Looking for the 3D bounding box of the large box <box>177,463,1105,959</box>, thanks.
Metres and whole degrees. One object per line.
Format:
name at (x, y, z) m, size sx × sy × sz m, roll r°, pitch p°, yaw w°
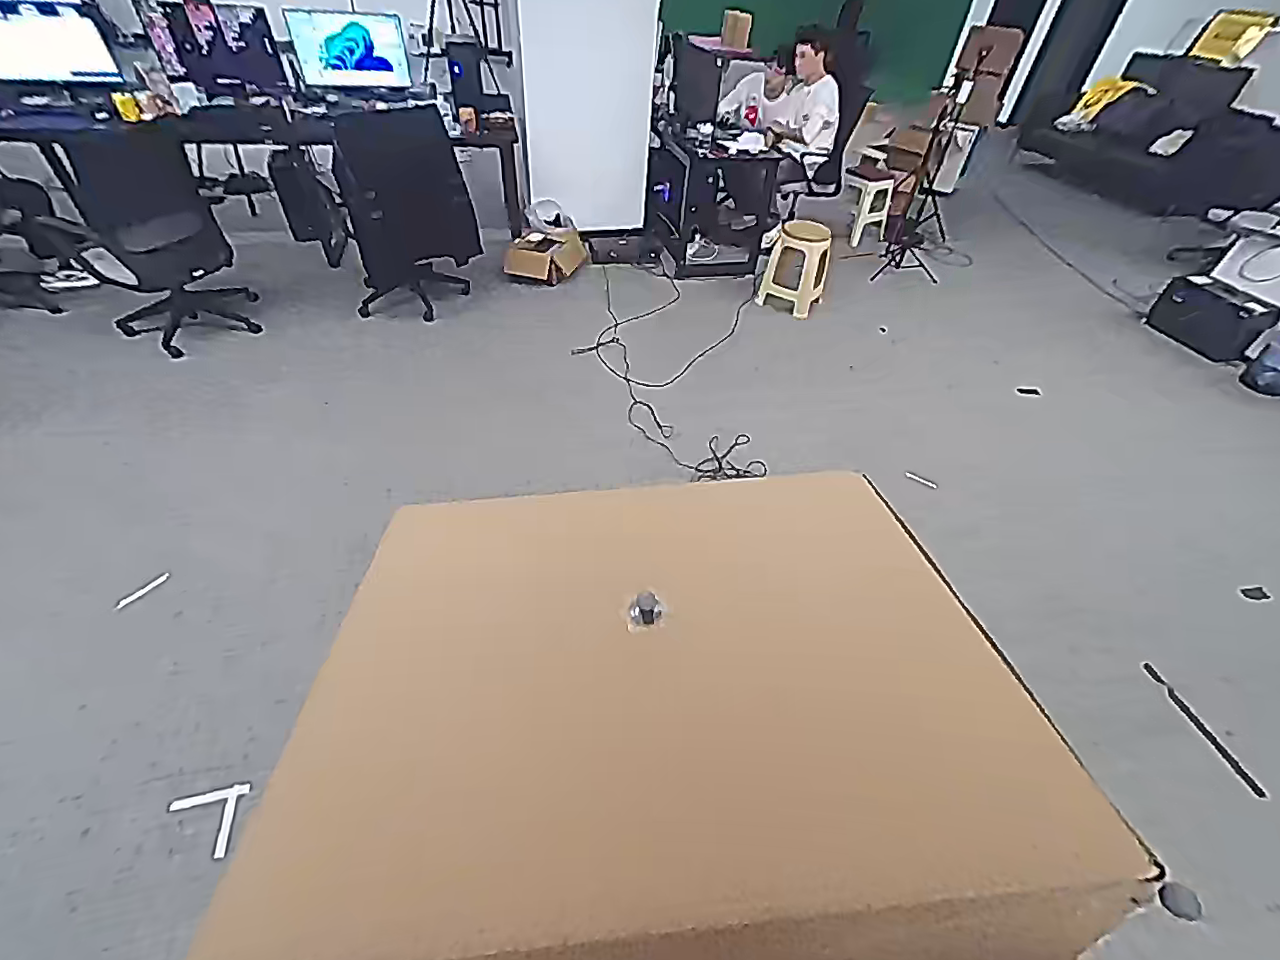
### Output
large box at (-0.001, 0.212, 0.430) m, size 0.408 × 0.320 × 0.320 m, roll -7°, pitch 37°, yaw -2°
